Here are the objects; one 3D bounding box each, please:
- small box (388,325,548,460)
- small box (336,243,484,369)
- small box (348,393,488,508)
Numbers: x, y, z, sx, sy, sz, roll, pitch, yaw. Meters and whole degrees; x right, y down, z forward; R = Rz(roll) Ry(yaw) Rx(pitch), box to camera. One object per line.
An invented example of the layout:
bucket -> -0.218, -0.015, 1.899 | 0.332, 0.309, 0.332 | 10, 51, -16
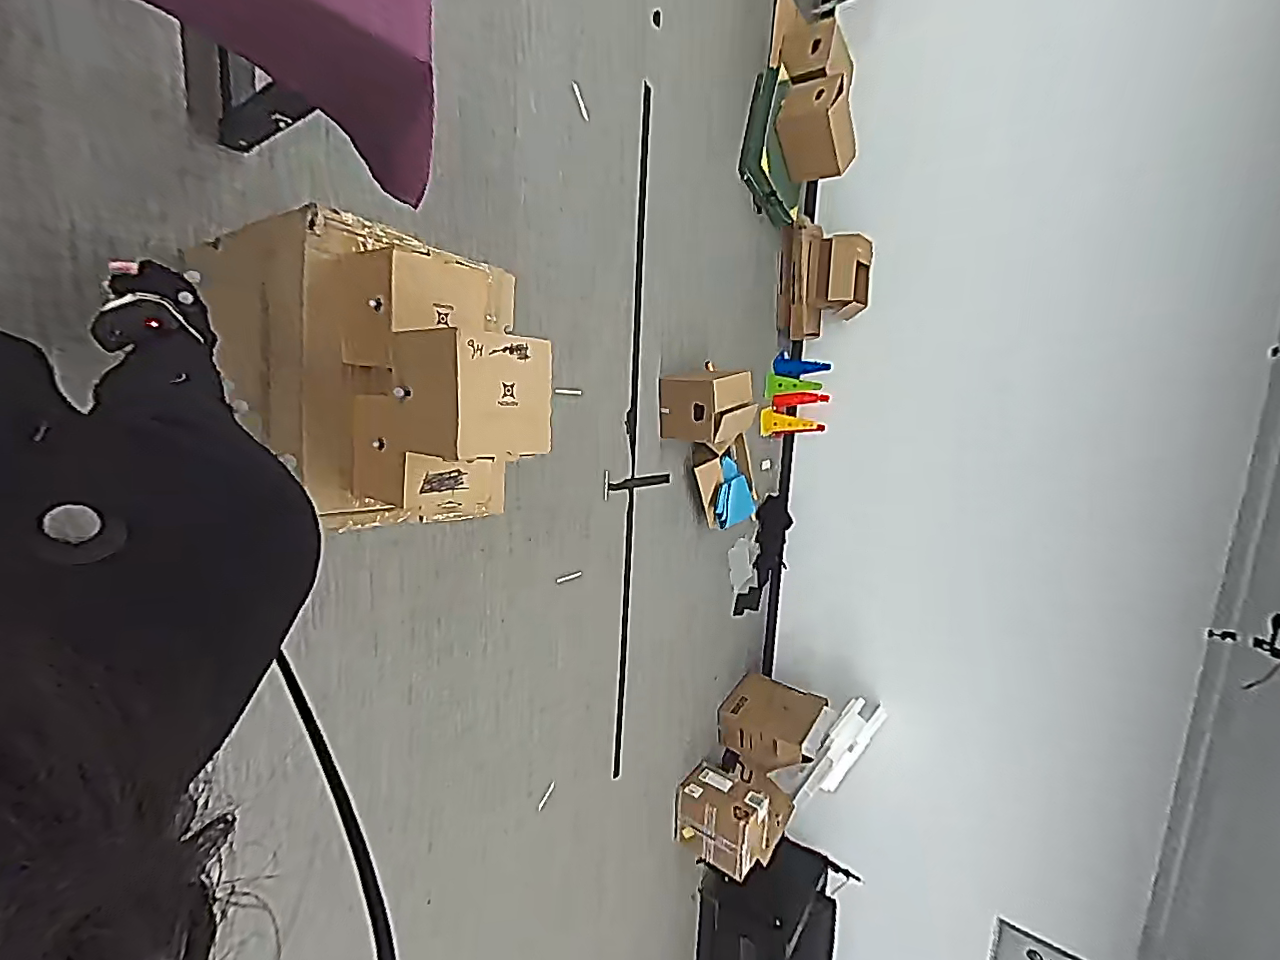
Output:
small box -> -0.257, -0.128, 0.808 | 0.168, 0.176, 0.179 | -8, 103, -52
small box -> -0.379, -0.270, 0.888 | 0.168, 0.176, 0.179 | -6, 104, -52
small box -> -0.382, -0.052, 0.932 | 0.168, 0.176, 0.179 | -1, 97, -53
